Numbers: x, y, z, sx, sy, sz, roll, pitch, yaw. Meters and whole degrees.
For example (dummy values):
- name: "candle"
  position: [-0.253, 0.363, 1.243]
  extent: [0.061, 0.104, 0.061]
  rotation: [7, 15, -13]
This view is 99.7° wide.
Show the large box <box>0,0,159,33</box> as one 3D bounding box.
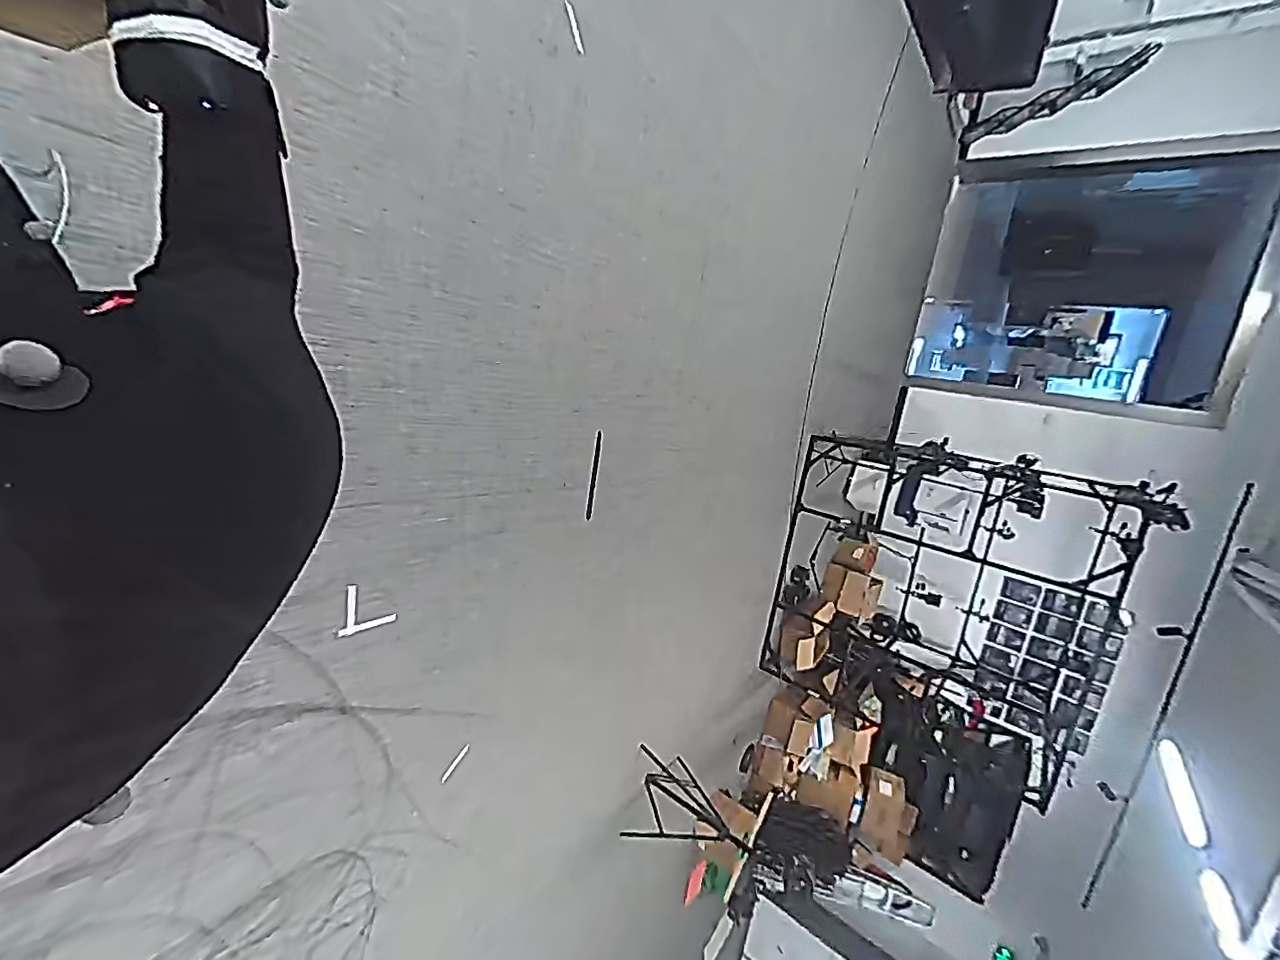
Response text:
- name: "large box"
  position: [-0.520, -0.484, 0.235]
  extent: [0.408, 0.320, 0.320]
  rotation: [-12, 121, -53]
